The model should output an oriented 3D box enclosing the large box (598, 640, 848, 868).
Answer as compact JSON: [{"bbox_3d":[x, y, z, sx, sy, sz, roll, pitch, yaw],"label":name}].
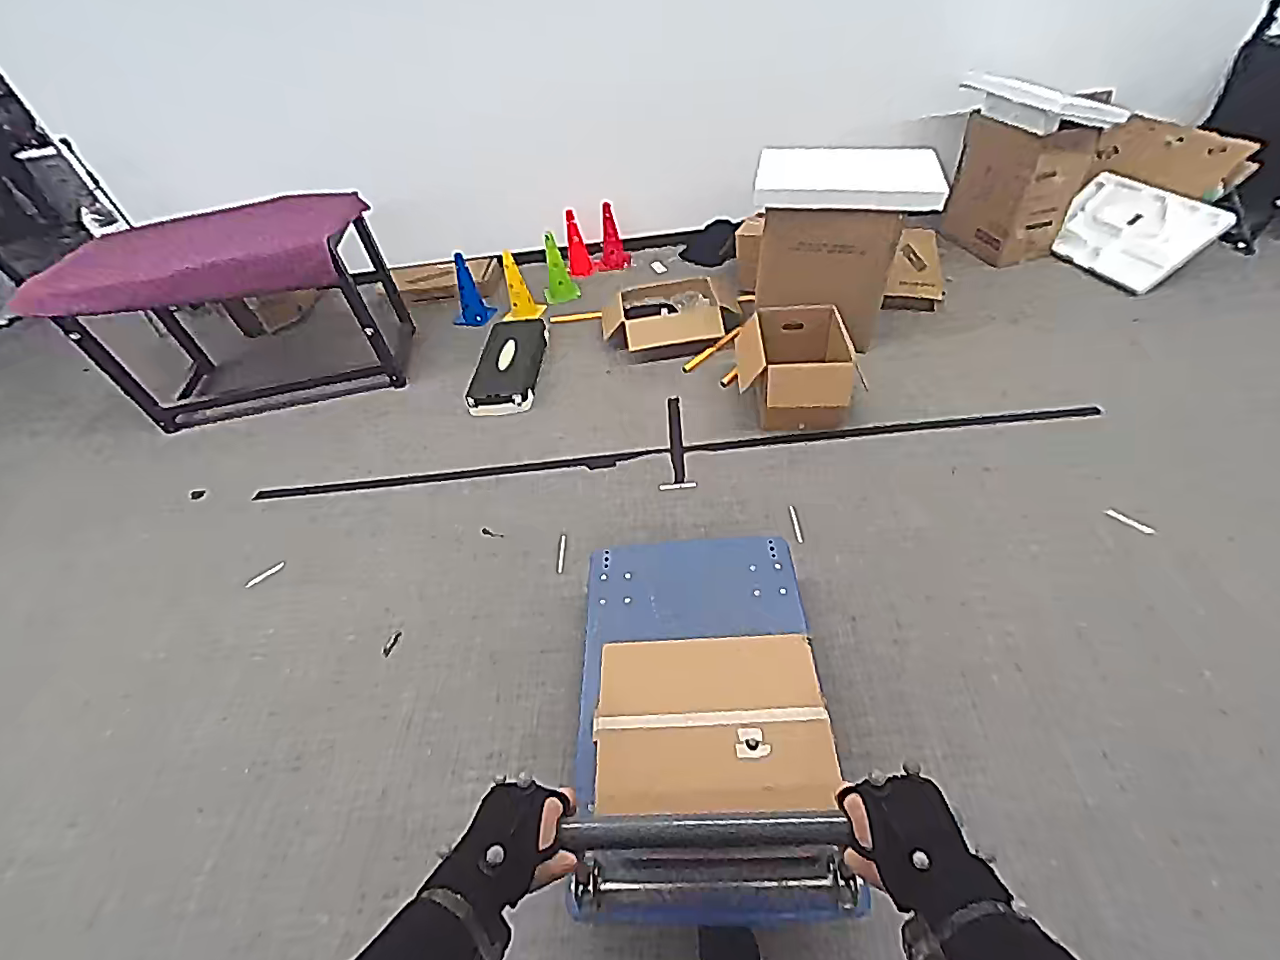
[{"bbox_3d":[0.138,0.538,1.057,0.408,0.320,0.320,-4,46,3],"label":"large box"}]
